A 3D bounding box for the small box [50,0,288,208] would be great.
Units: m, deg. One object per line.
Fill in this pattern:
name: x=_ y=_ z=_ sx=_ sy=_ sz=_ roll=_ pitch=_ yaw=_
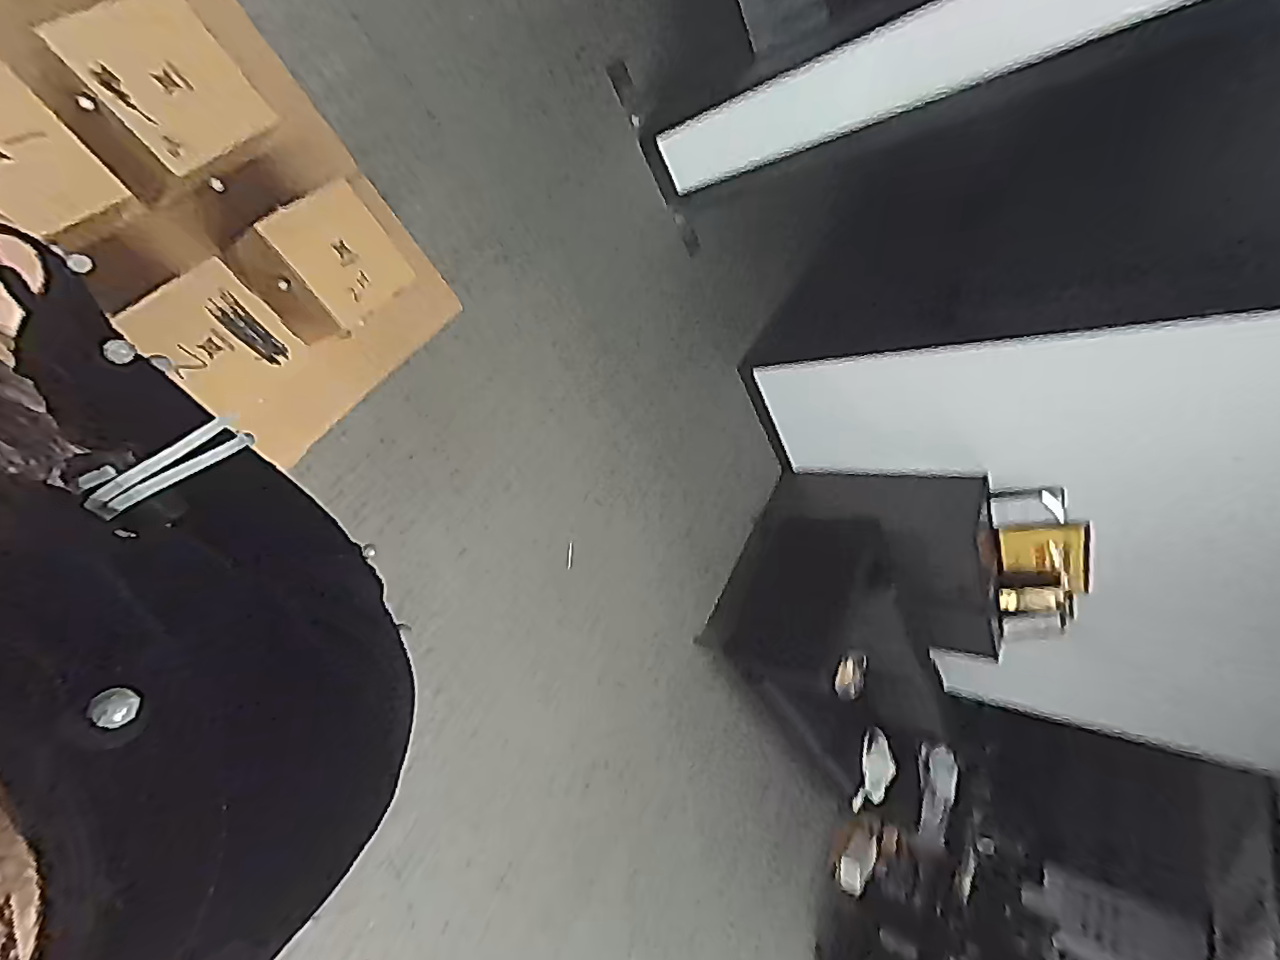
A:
small box: x=-0.637 y=-0.506 z=0.732 sx=0.168 sy=0.176 sz=0.179 roll=54 pitch=53 yaw=-34
